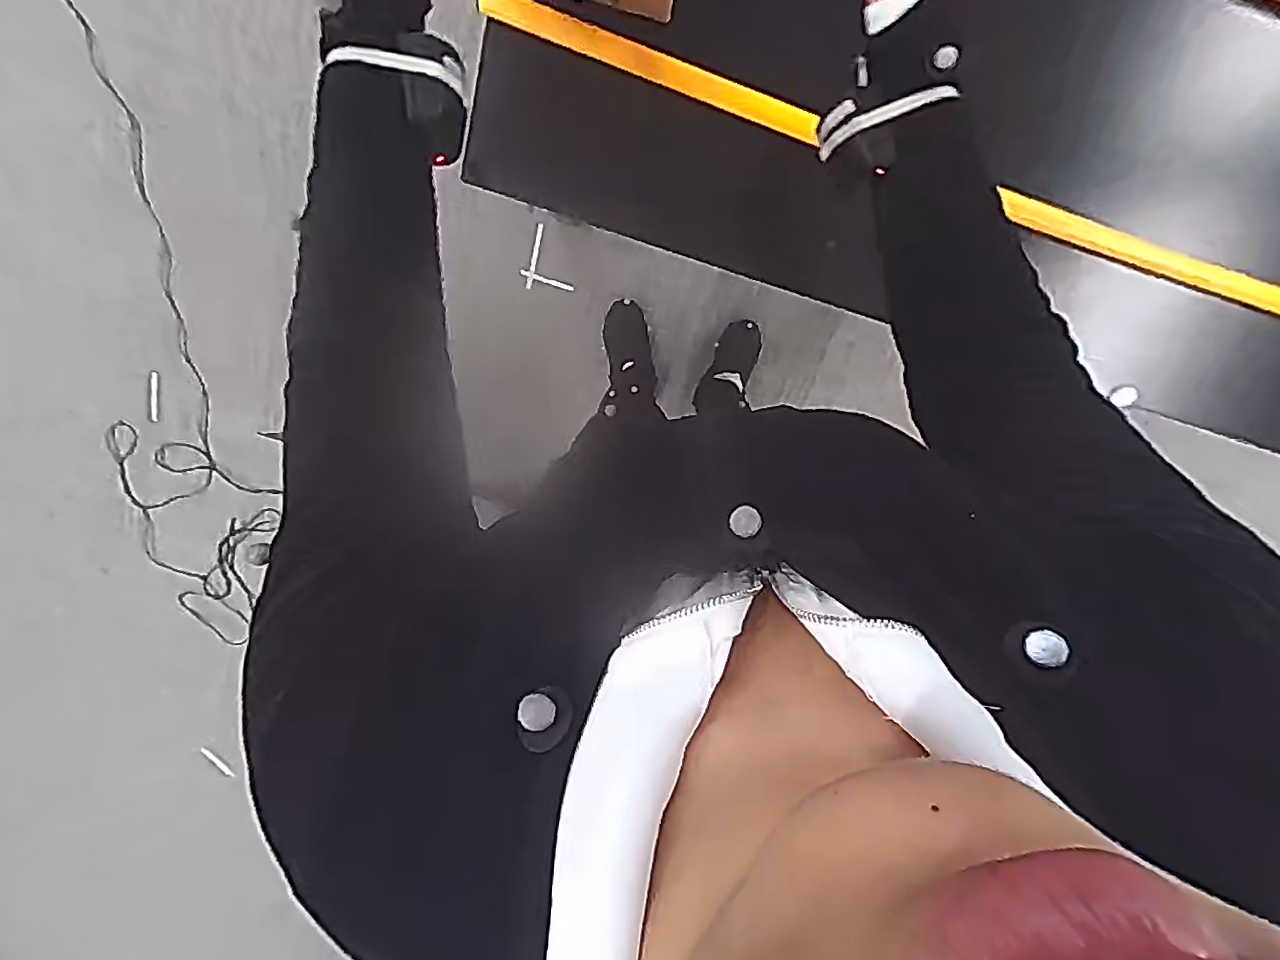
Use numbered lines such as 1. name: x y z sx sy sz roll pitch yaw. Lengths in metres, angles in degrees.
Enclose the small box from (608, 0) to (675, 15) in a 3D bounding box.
1. small box: -0.024 -0.544 0.448 0.168 0.176 0.179 12 112 -6
